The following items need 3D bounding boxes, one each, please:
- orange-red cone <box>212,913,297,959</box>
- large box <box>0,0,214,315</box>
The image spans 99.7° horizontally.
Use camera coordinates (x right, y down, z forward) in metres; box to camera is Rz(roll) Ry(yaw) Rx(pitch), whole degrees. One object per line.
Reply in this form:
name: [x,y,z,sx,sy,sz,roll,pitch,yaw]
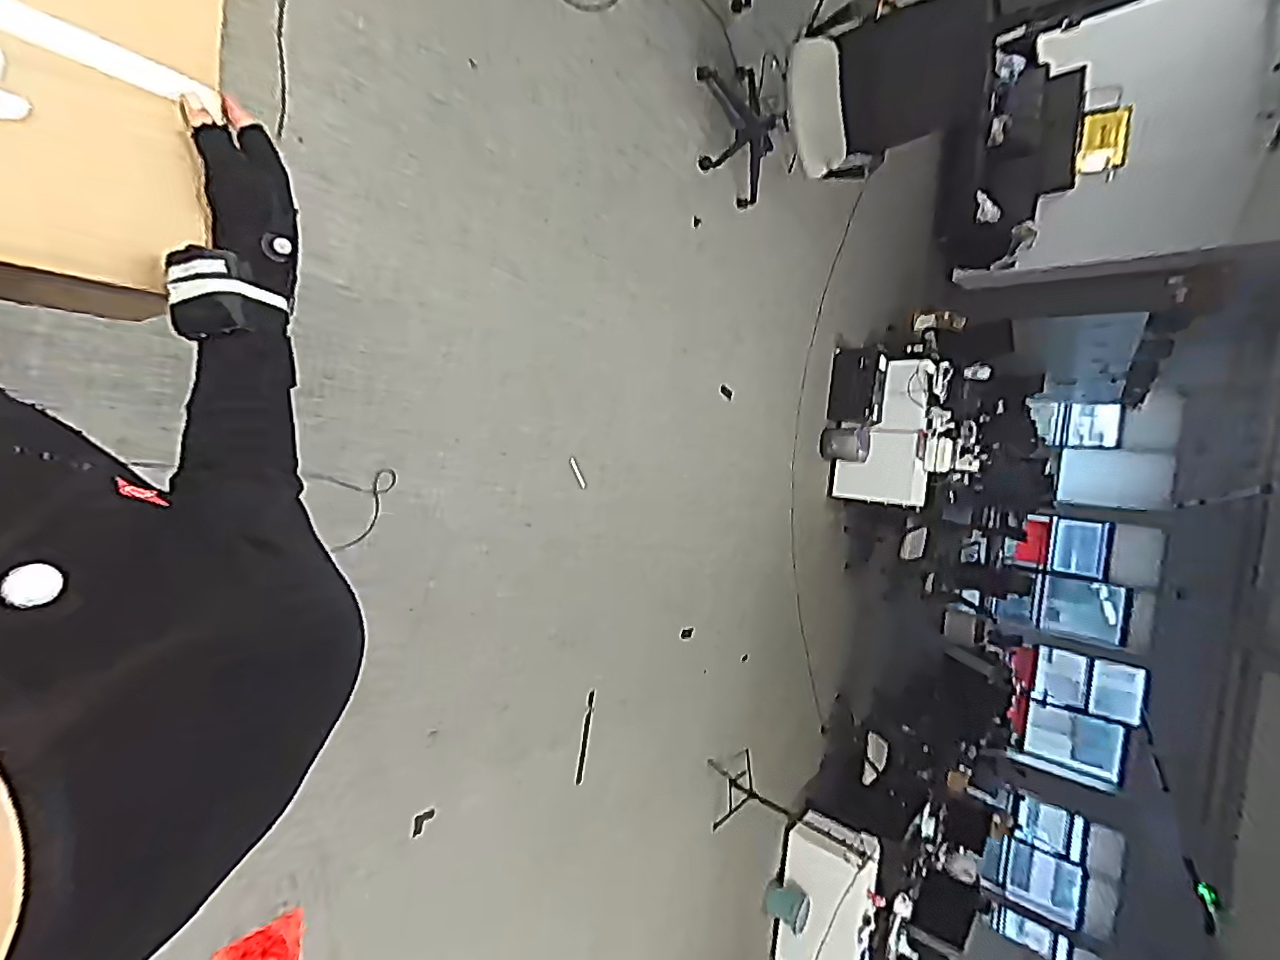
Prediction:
orange-red cone: [-0.866,1.272,1.287,0.198,0.360,0.199,3,92,-52]
large box: [-0.596,-0.322,0.382,0.408,0.320,0.320,-1,99,-53]
